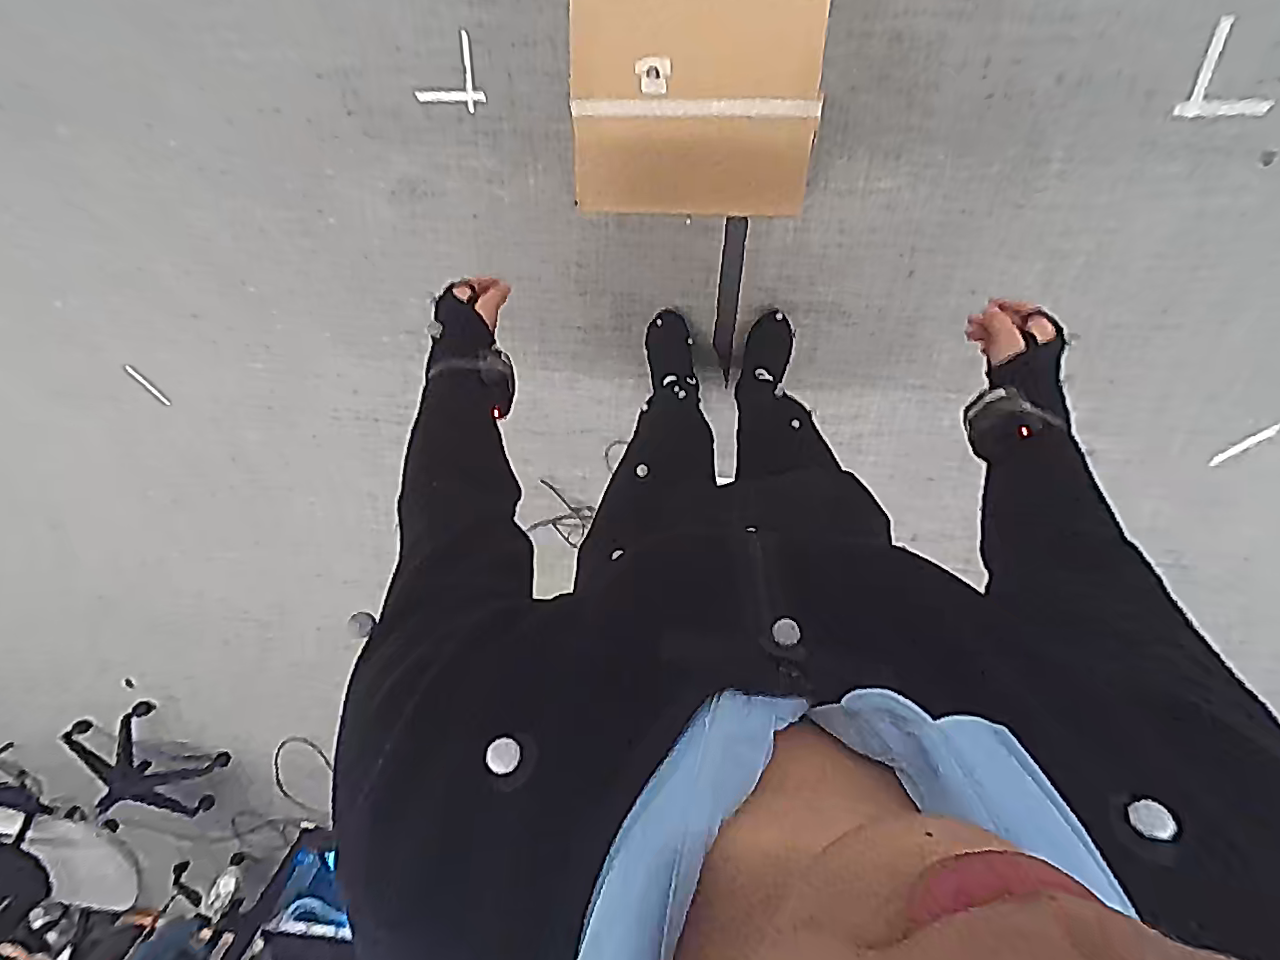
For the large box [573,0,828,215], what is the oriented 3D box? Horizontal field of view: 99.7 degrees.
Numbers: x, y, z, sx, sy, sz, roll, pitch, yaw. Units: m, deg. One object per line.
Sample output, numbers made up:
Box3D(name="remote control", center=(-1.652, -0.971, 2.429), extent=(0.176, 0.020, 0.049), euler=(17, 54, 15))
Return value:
Box3D(name="large box", center=(0.109, -0.682, 1.031), extent=(0.408, 0.320, 0.320), euler=(4, 115, 5))
